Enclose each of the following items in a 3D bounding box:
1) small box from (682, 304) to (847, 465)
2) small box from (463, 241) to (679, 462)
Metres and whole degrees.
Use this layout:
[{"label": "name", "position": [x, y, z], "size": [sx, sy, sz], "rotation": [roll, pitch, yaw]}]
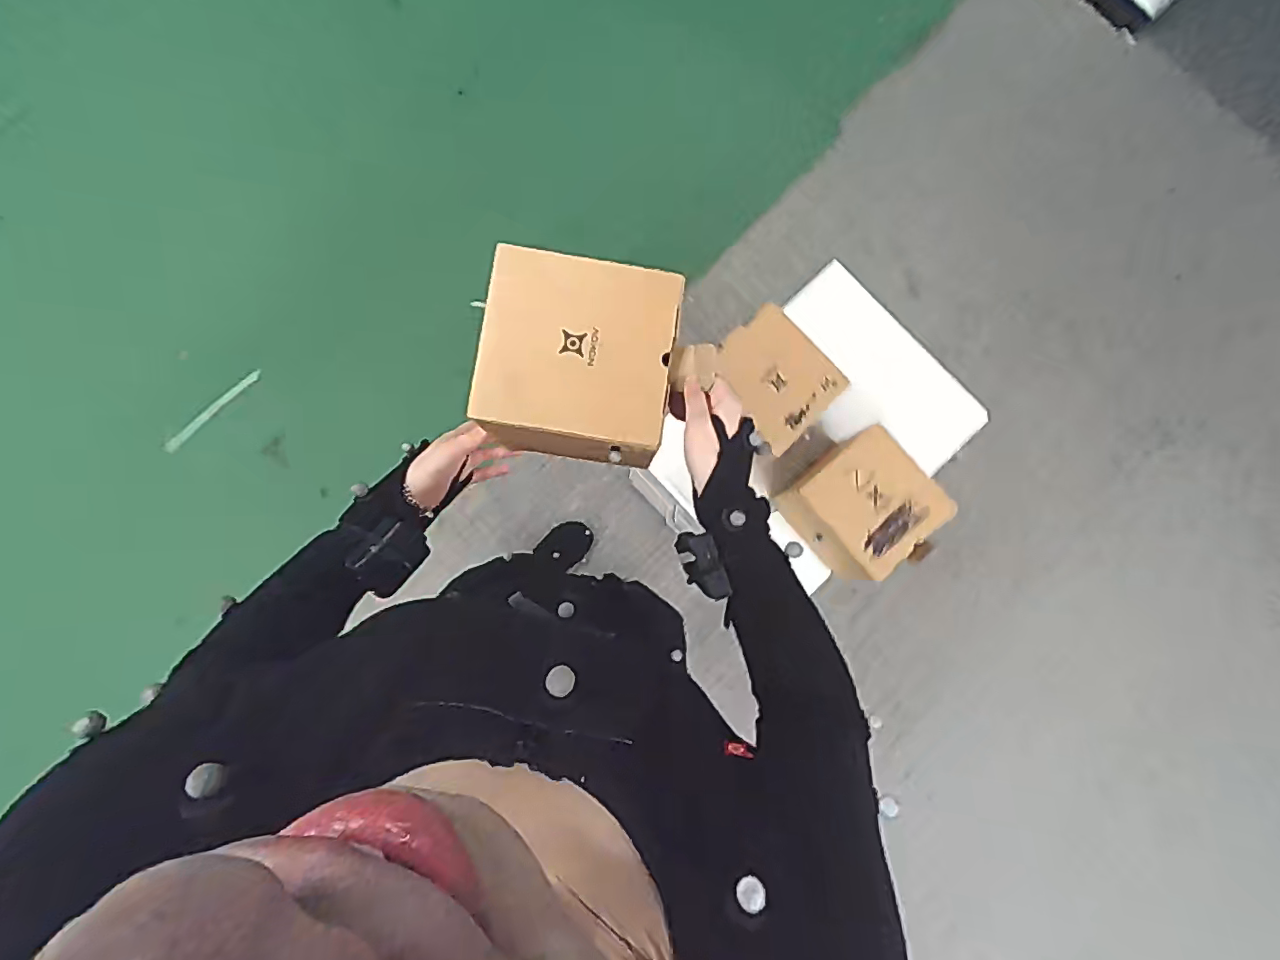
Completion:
[{"label": "small box", "position": [0.189, -0.142, 0.879], "size": [0.168, 0.176, 0.179], "rotation": [-42, 88, -7]}, {"label": "small box", "position": [-0.065, -0.118, 0.567], "size": [0.179, 0.176, 0.168], "rotation": [8, 83, -4]}]
